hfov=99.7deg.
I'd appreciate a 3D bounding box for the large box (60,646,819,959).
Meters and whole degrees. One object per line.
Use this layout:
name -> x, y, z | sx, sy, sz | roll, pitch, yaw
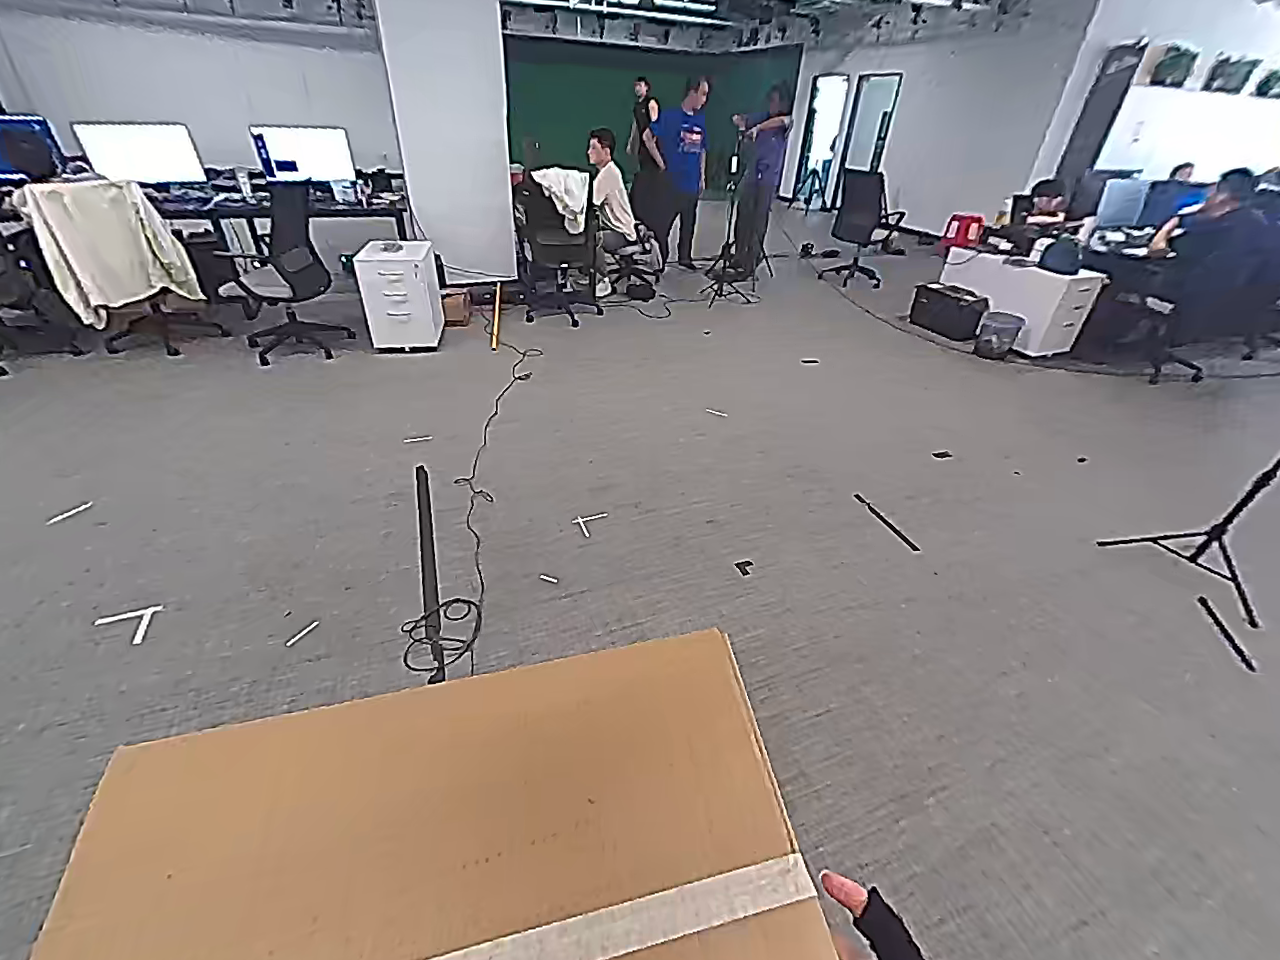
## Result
large box -> -0.105, 0.366, 0.396 | 0.408, 0.320, 0.320 | -8, 49, -9
